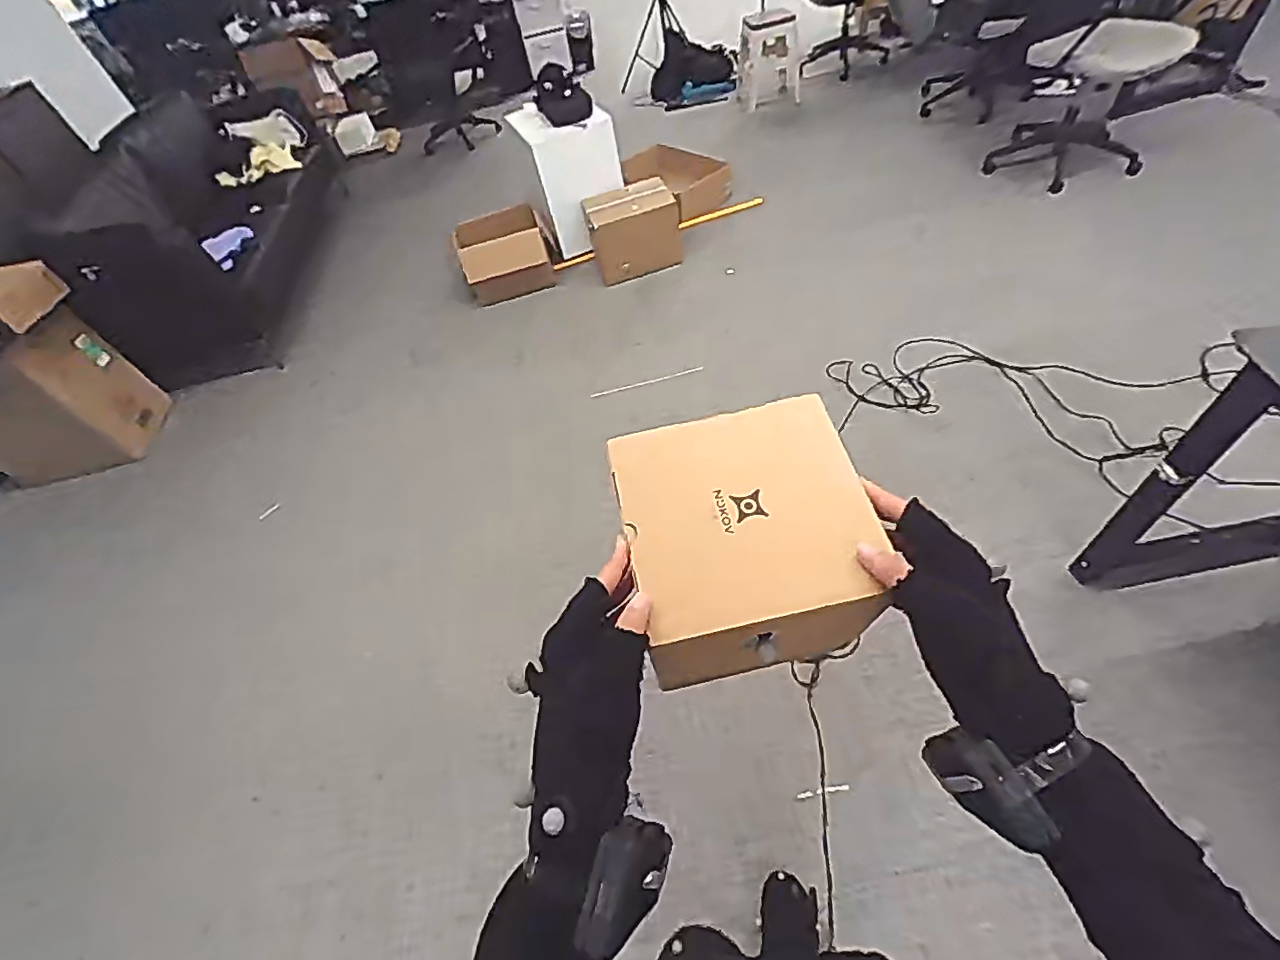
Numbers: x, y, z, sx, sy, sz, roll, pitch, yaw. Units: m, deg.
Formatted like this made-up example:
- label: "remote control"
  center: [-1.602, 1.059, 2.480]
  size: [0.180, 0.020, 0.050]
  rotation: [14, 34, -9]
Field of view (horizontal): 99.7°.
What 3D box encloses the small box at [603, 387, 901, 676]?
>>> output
- label: "small box"
  center: [0.077, 0.052, 0.453]
  size: [0.179, 0.176, 0.168]
  rotation: [-14, 60, 0]
